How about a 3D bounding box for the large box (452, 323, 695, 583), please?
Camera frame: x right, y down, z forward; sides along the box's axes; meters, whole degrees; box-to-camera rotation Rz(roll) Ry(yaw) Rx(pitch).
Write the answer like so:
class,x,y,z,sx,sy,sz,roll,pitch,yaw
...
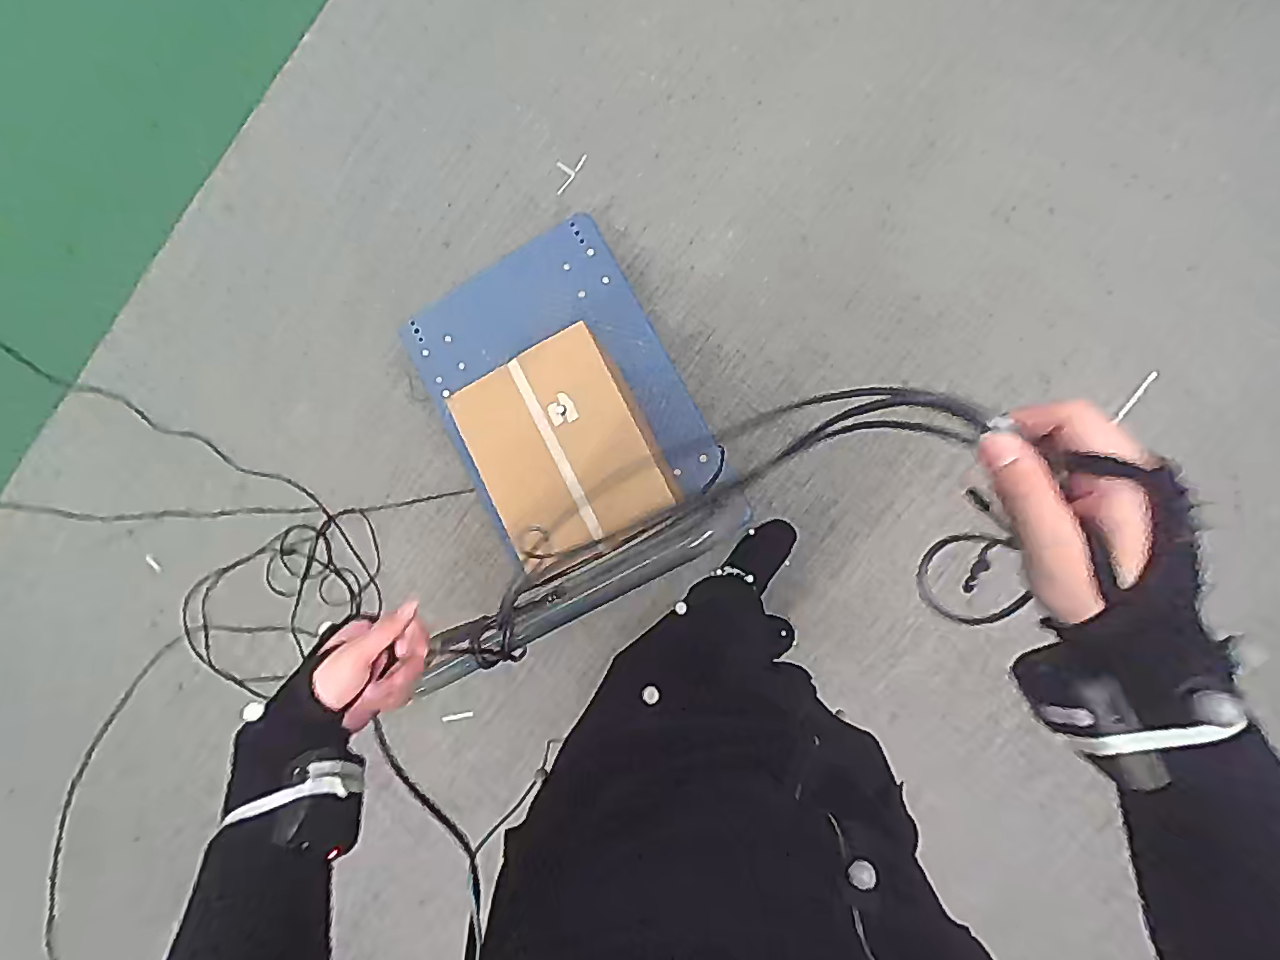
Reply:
class,x,y,z,sx,sy,sz,roll,pitch,yaw
large box,-0.116,-0.044,1.147,0.320,0.320,0.408,-28,84,6
